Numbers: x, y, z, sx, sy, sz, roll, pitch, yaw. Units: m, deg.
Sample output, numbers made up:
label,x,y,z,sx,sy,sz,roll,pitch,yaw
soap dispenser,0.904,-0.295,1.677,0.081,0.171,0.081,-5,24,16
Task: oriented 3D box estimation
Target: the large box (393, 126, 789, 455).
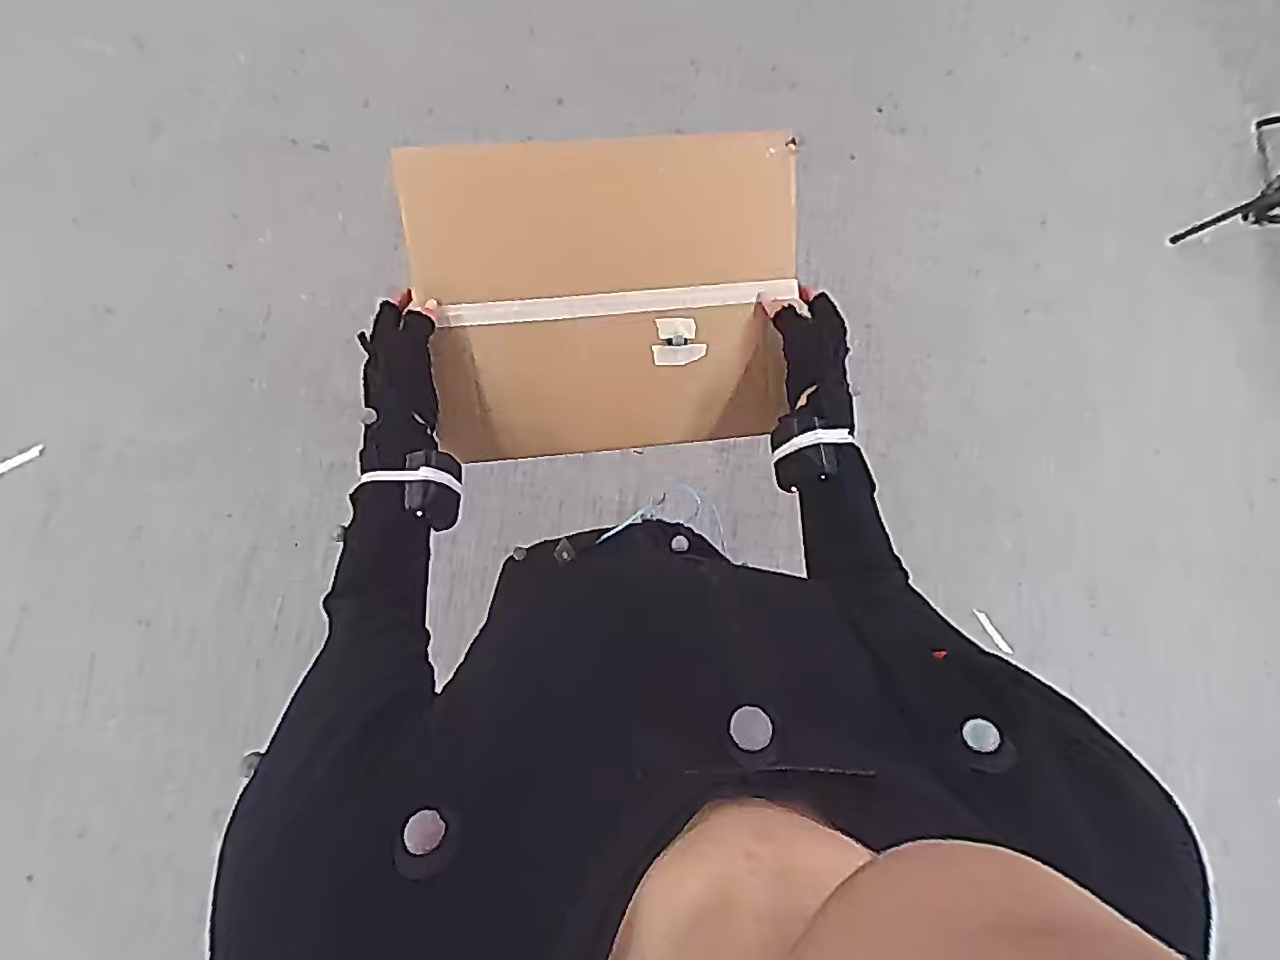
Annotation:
label,x,y,z,sx,sy,sz,roll,pitch,yaw
large box,-0.054,-0.232,0.728,0.408,0.320,0.320,-7,104,-5
